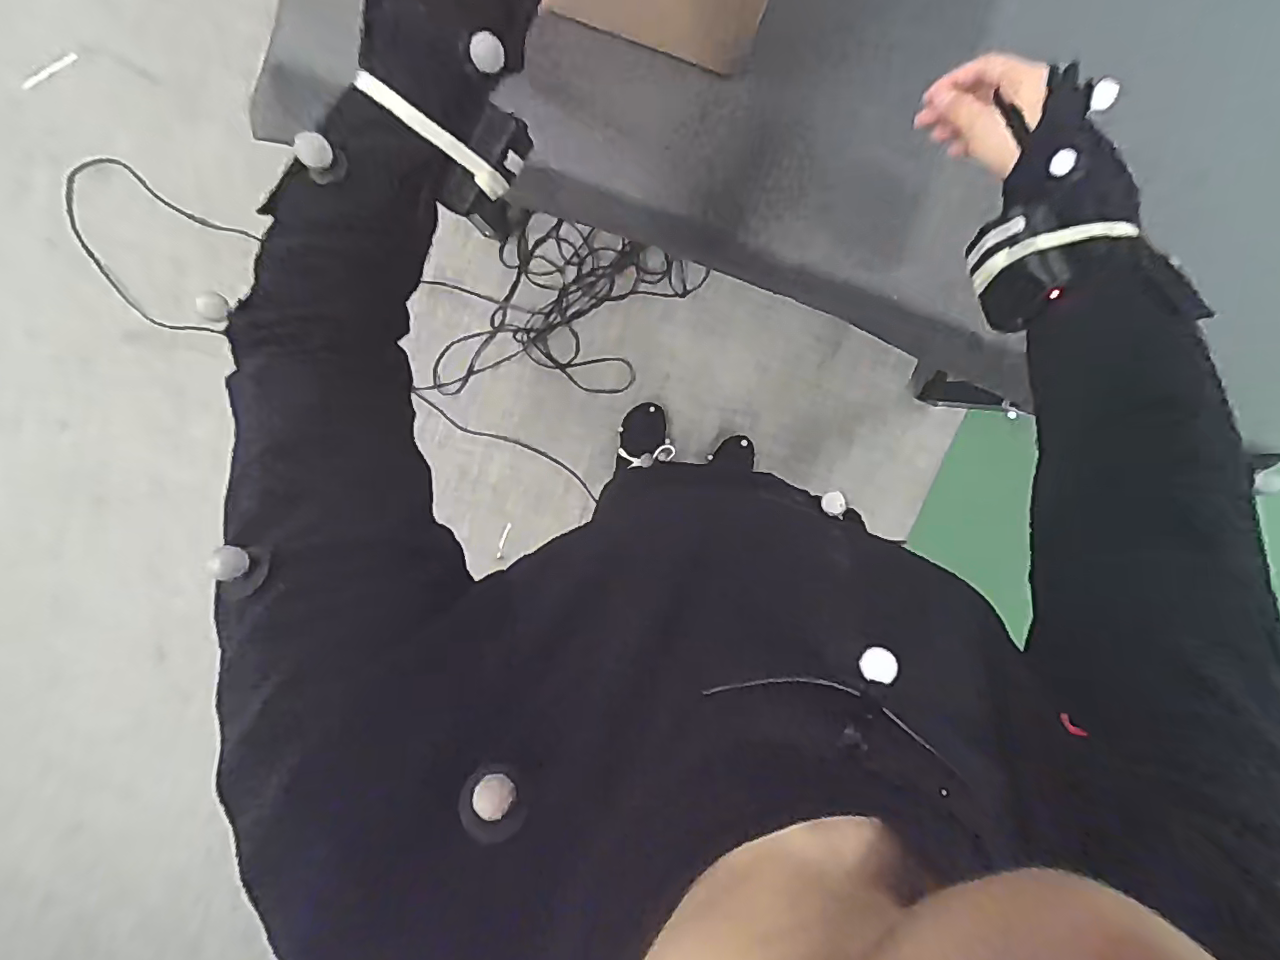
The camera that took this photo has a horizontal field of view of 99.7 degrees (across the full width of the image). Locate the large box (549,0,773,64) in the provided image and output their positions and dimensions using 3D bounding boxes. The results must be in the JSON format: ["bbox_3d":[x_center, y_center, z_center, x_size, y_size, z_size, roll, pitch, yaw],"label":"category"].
[{"bbox_3d":[-0.038,-0.583,0.360,0.408,0.320,0.320,15,100,-6],"label":"large box"}]
